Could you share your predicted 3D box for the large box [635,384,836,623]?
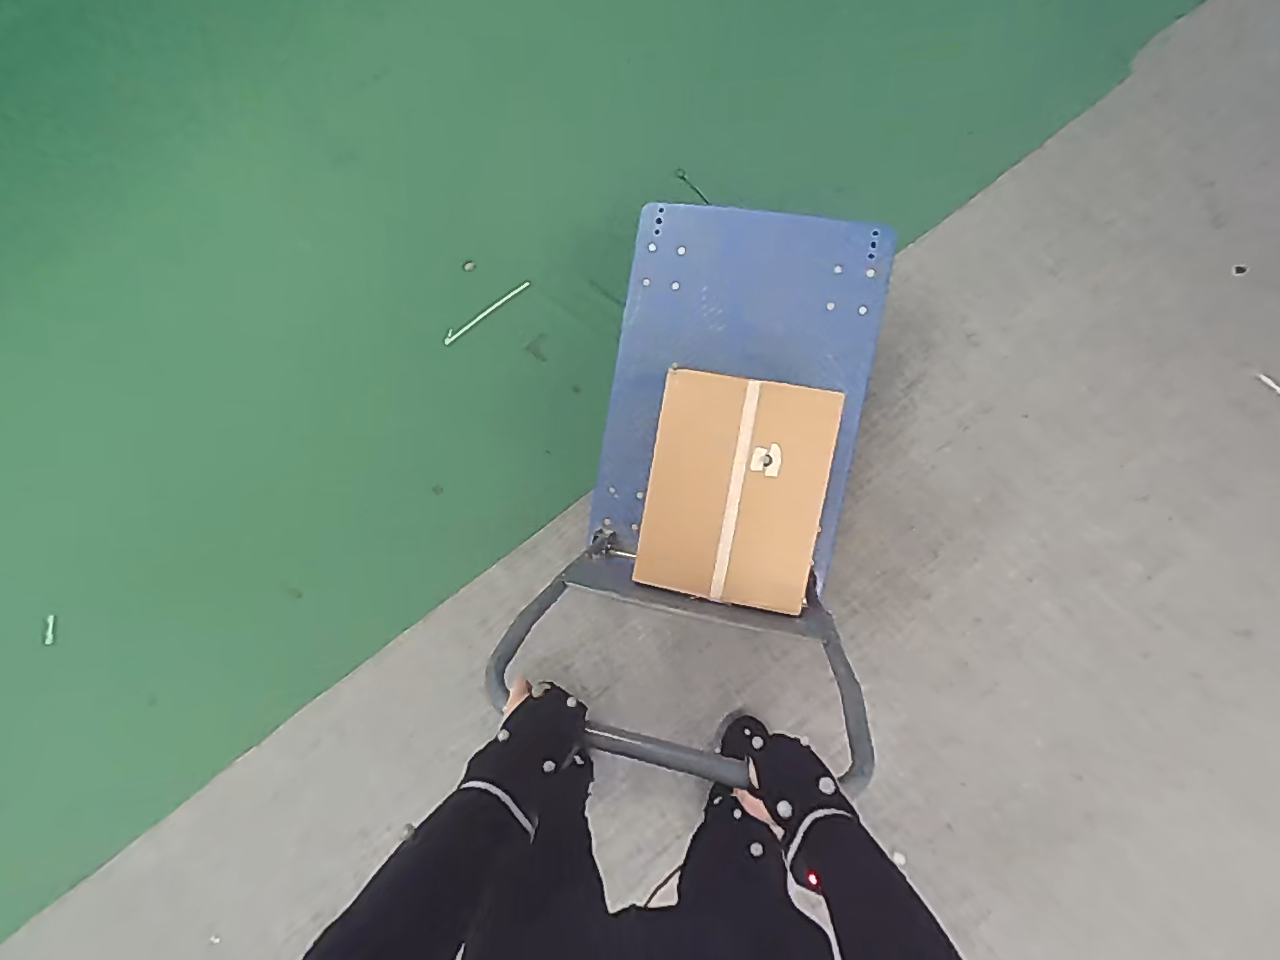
[{"bbox_3d":[0.196,0.037,1.140,0.320,0.320,0.408,11,95,9],"label":"large box"}]
